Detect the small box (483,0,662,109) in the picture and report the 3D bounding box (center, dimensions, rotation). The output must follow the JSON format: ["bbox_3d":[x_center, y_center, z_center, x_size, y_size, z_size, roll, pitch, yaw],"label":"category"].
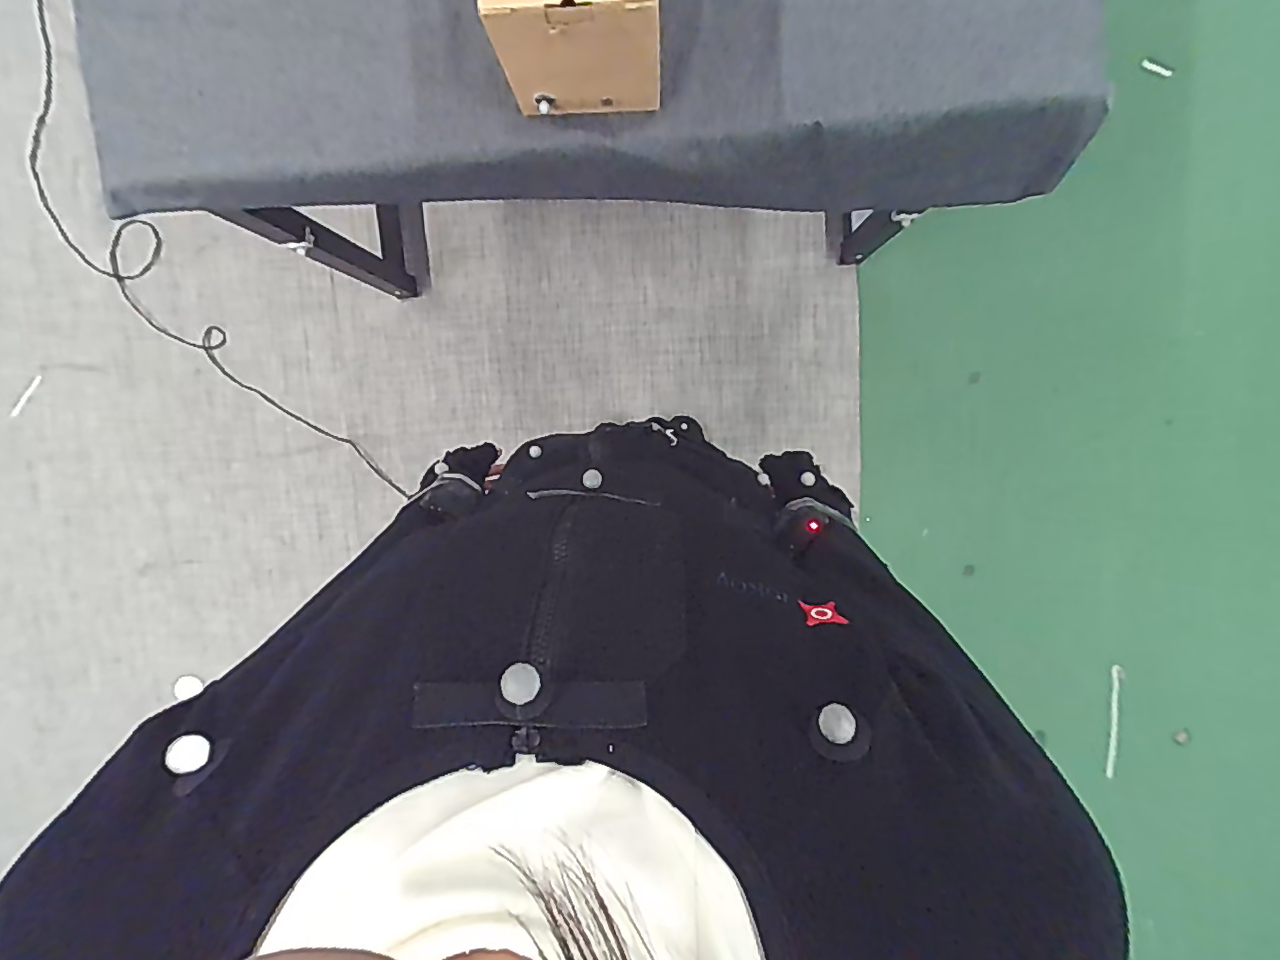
[{"bbox_3d":[-0.061,-0.523,0.567,0.168,0.176,0.179,0,95,1],"label":"small box"}]
